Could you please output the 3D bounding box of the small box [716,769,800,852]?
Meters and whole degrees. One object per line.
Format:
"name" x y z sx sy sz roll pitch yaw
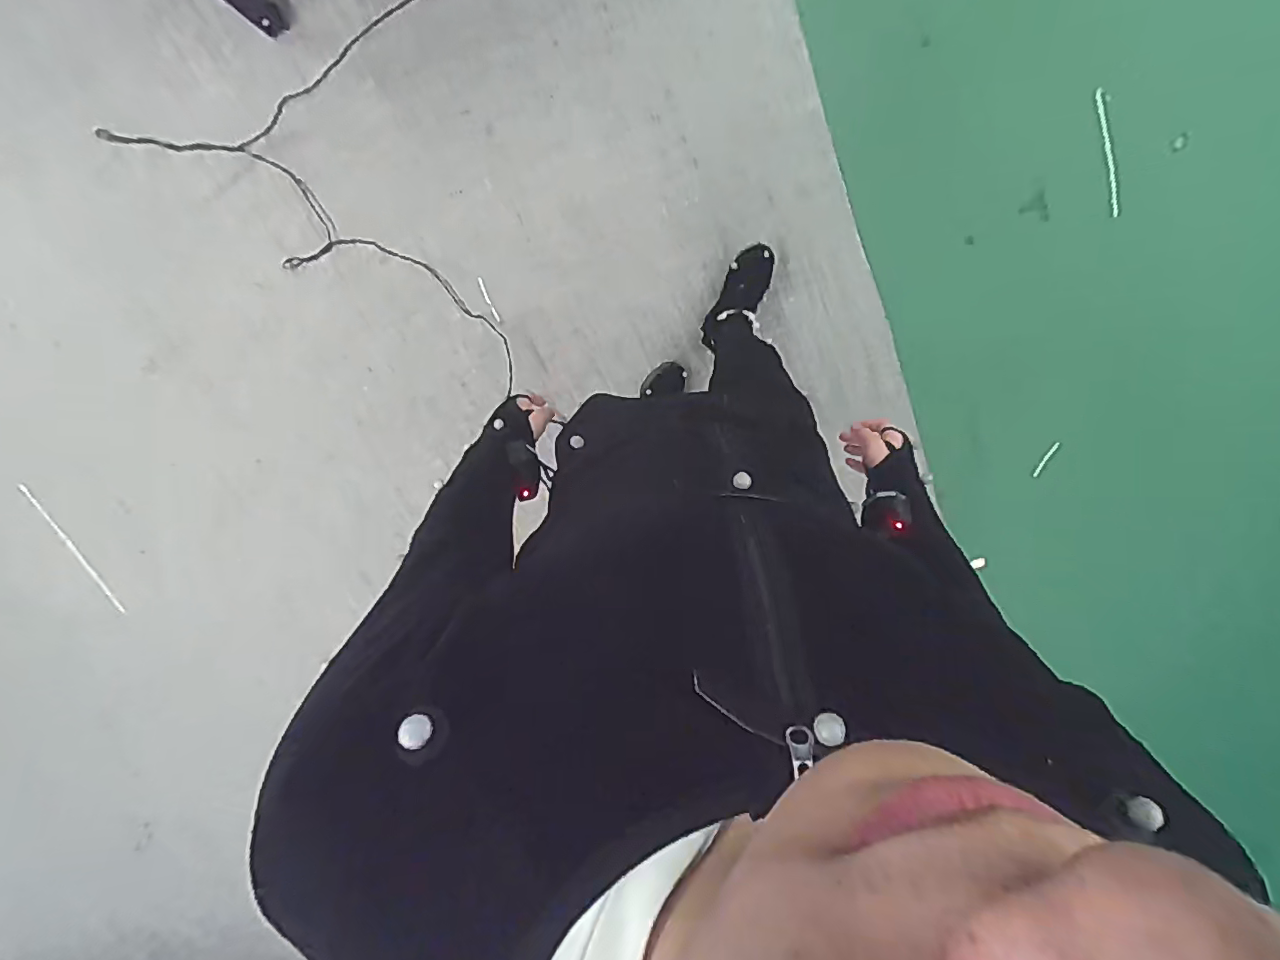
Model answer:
"small box" 0.299 0.882 1.382 0.179 0.176 0.168 -20 106 4
